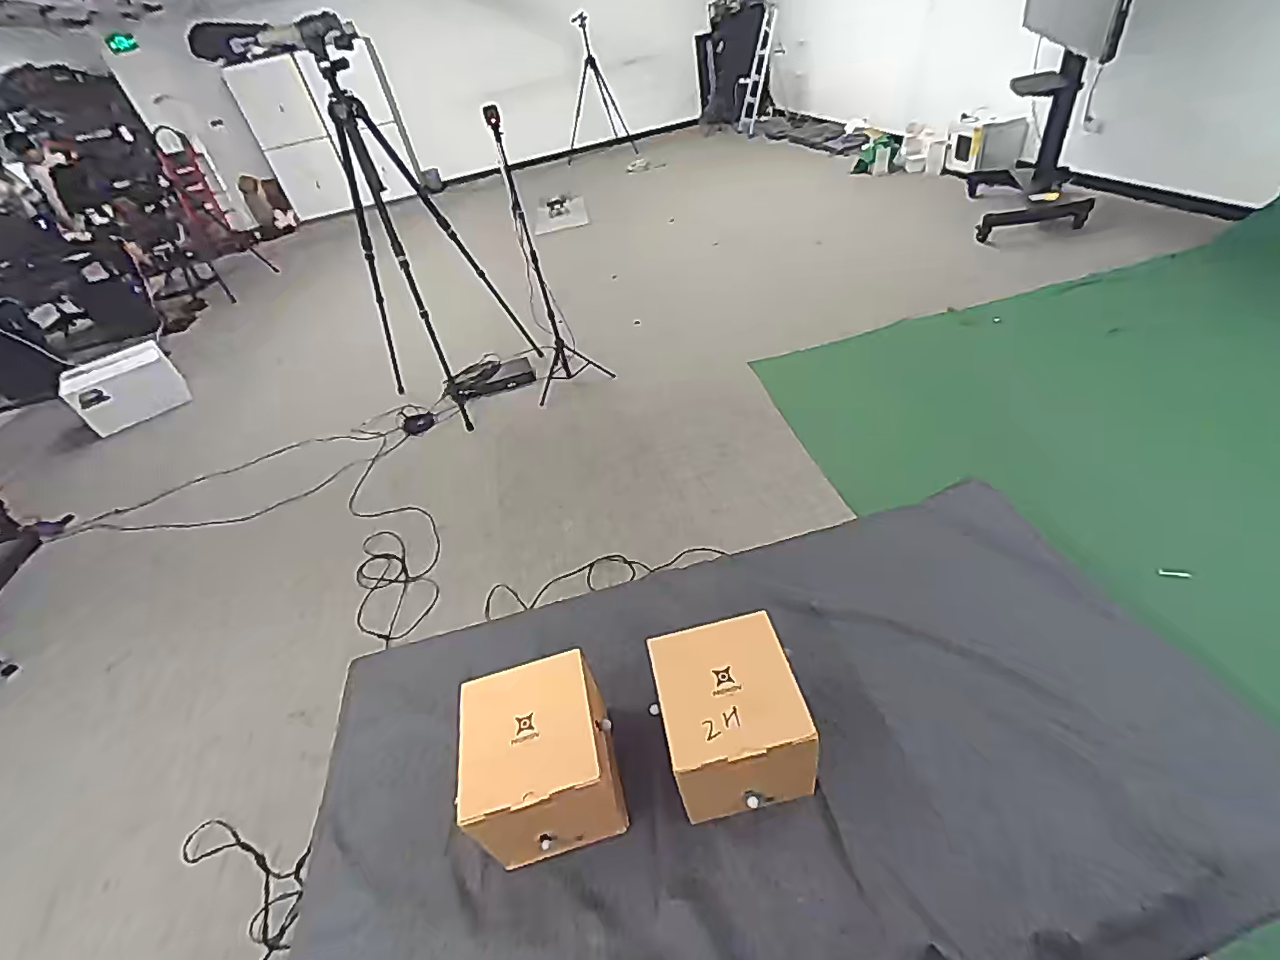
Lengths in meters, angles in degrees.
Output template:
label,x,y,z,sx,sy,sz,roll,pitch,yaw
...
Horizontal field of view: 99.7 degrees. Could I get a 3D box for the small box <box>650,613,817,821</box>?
label,x,y,z,sx,sy,sz,roll,pitch,yaw
small box,0.115,0.308,0.706,0.168,0.176,0.179,-13,40,0

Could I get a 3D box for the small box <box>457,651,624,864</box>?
label,x,y,z,sx,sy,sz,roll,pitch,yaw
small box,-0.127,0.362,0.711,0.168,0.176,0.179,-16,41,-4
